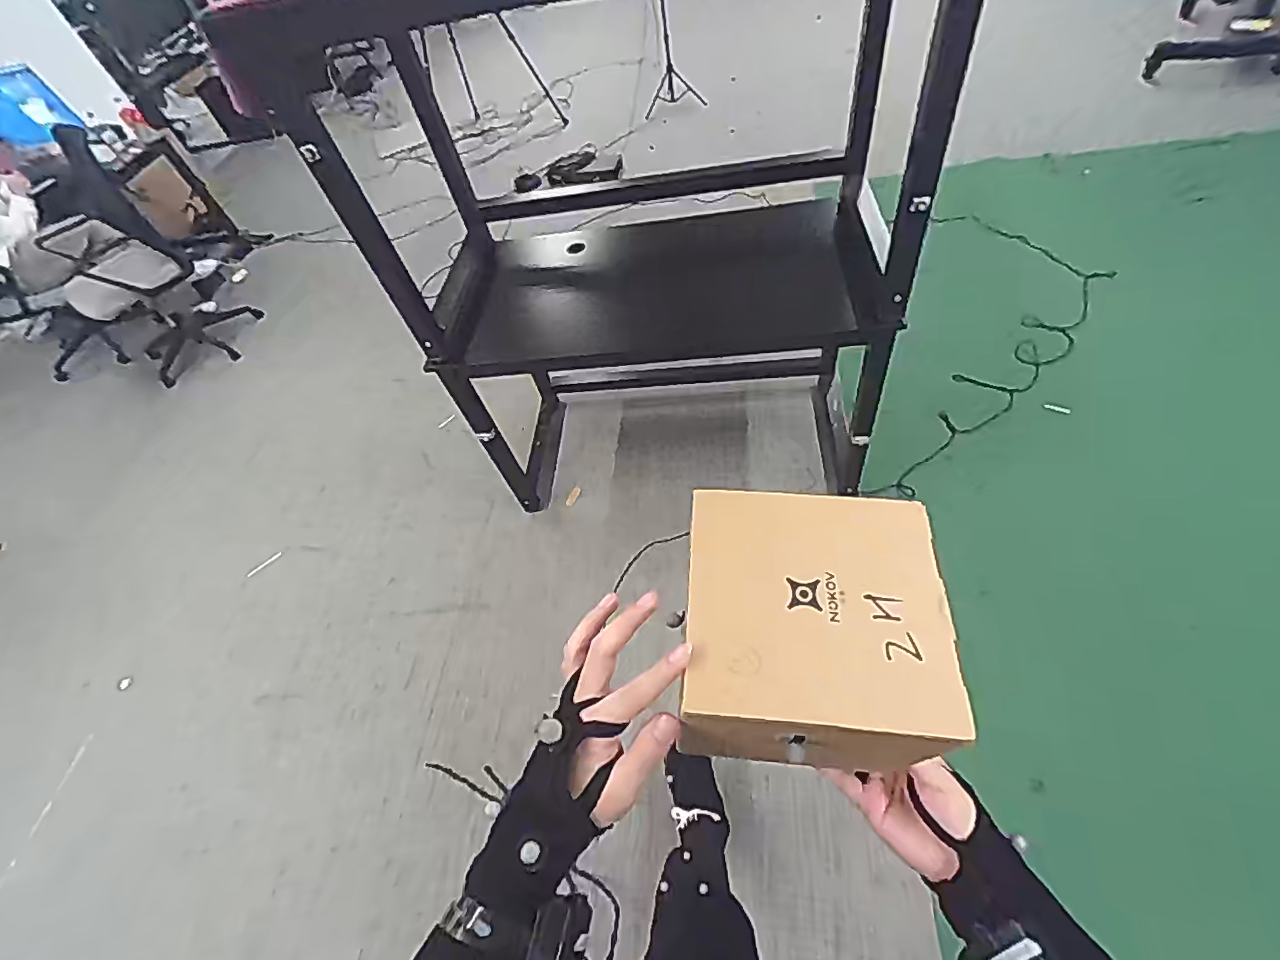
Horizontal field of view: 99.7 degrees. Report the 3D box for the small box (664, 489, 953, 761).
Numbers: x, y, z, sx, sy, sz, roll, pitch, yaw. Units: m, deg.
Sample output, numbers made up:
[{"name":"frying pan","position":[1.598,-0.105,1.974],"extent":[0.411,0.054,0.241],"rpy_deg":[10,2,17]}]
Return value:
[{"name":"small box","position":[0.115,0.123,0.439],"extent":[0.179,0.176,0.168],"rpy_deg":[3,57,6]}]
